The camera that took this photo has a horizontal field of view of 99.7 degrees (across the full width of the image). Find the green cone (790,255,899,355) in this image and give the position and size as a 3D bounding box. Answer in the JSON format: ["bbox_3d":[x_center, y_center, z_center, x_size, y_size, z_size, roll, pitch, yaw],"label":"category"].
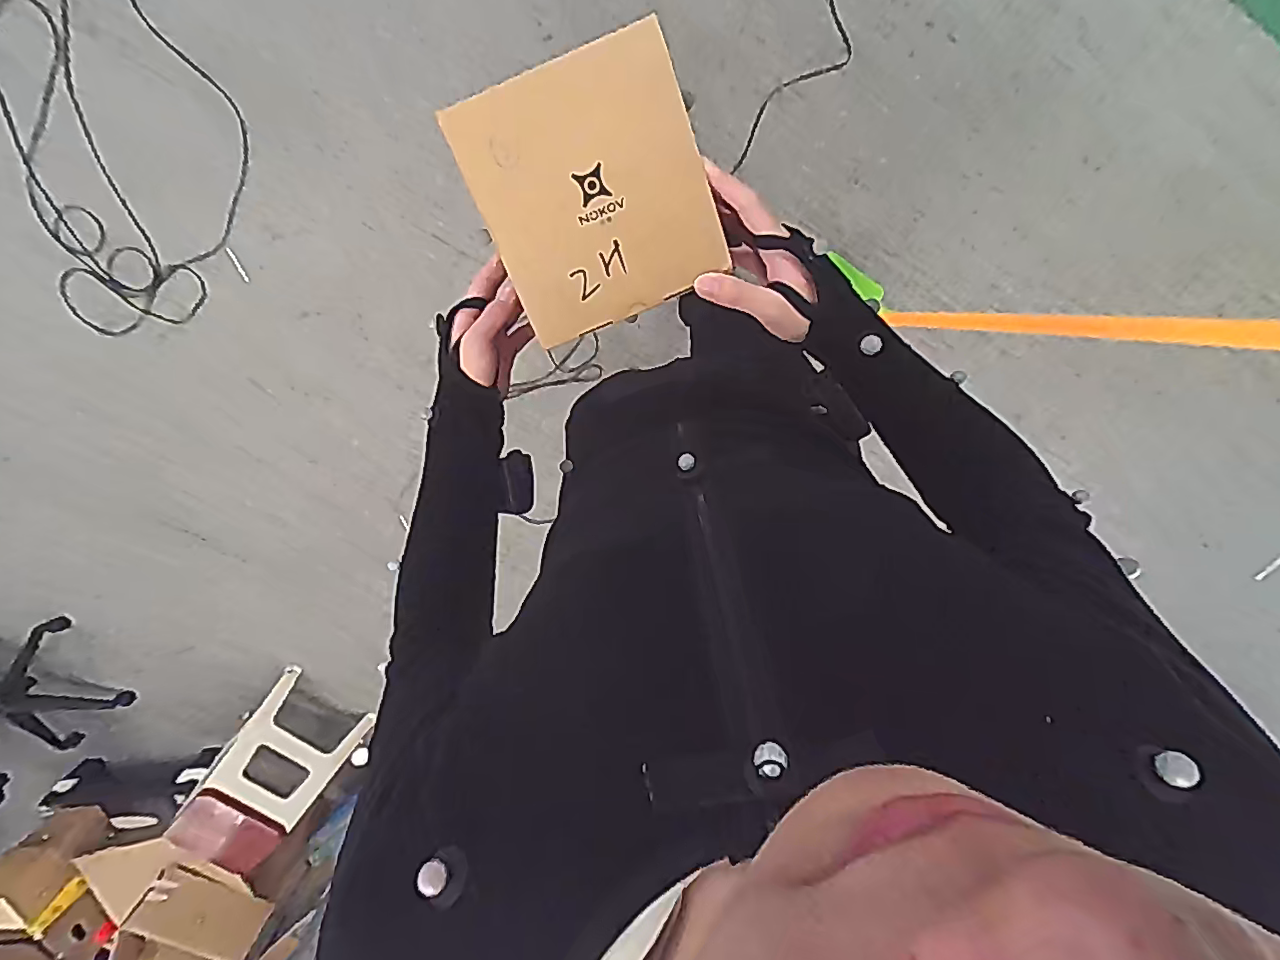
[{"bbox_3d":[0.520,-0.396,1.263,0.202,0.368,0.200,30,109,-9],"label":"green cone"}]
